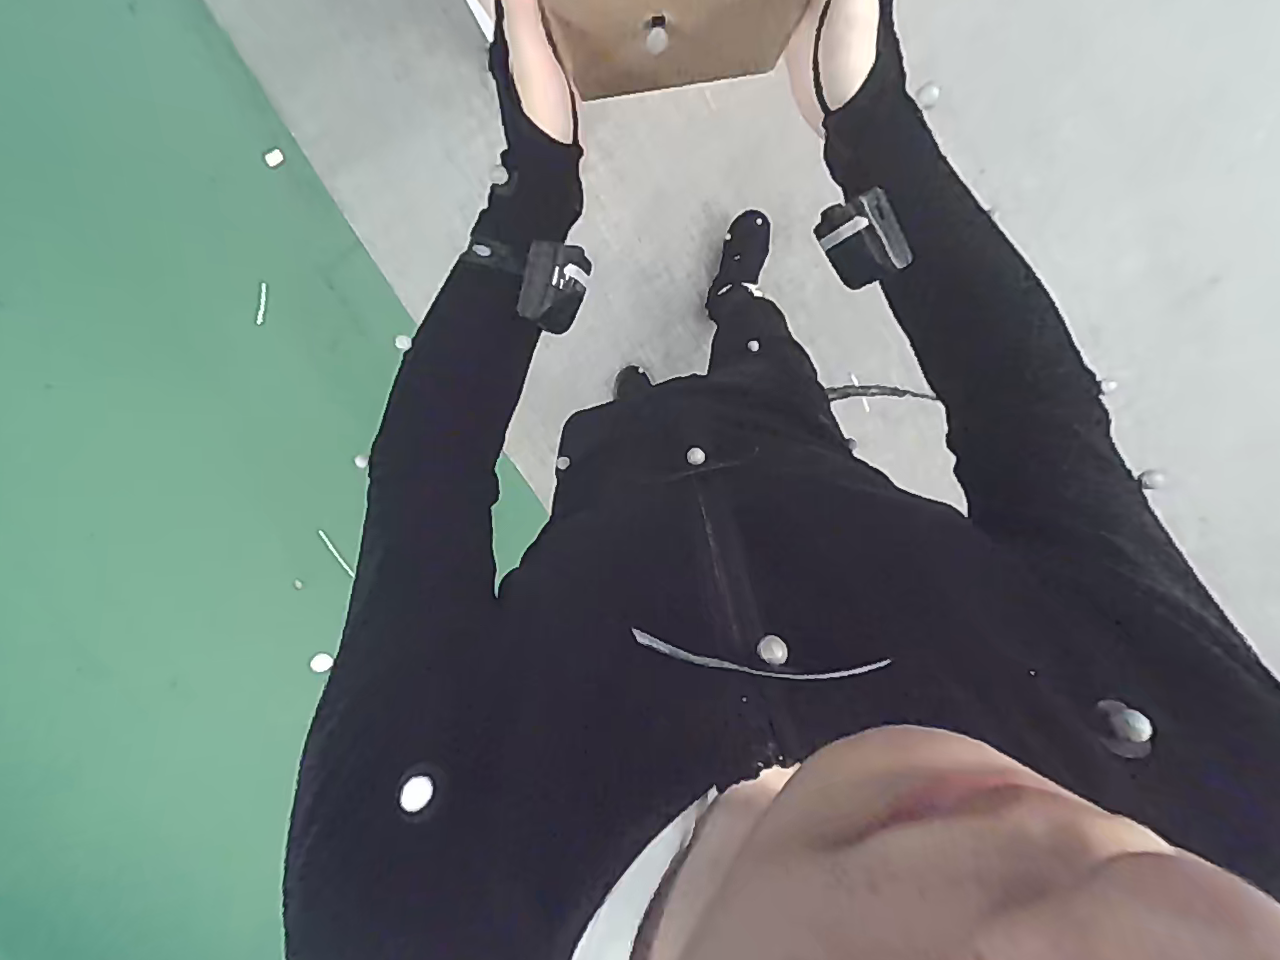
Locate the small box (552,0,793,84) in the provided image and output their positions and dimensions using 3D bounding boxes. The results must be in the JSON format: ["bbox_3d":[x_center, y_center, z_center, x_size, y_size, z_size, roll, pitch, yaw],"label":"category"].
[{"bbox_3d":[0.019,-0.399,0.361,0.179,0.176,0.168,-5,104,3],"label":"small box"}]
